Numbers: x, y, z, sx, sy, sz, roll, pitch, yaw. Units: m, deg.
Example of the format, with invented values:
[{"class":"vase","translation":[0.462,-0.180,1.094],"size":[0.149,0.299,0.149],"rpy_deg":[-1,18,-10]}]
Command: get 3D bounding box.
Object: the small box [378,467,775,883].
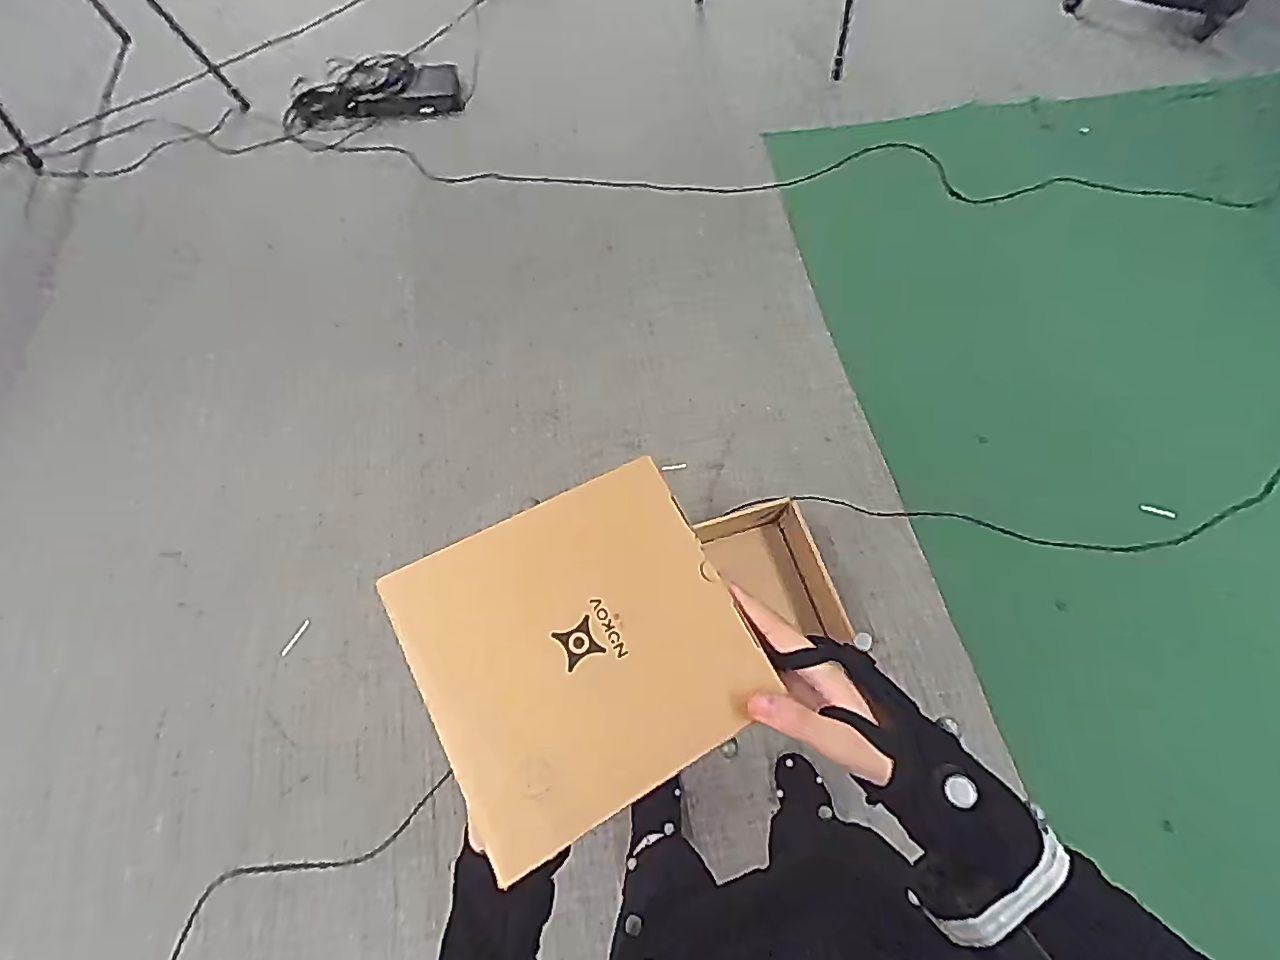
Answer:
[{"class":"small box","translation":[-0.044,0.123,0.377],"size":[0.179,0.176,0.168],"rpy_deg":[-26,75,-18]}]
